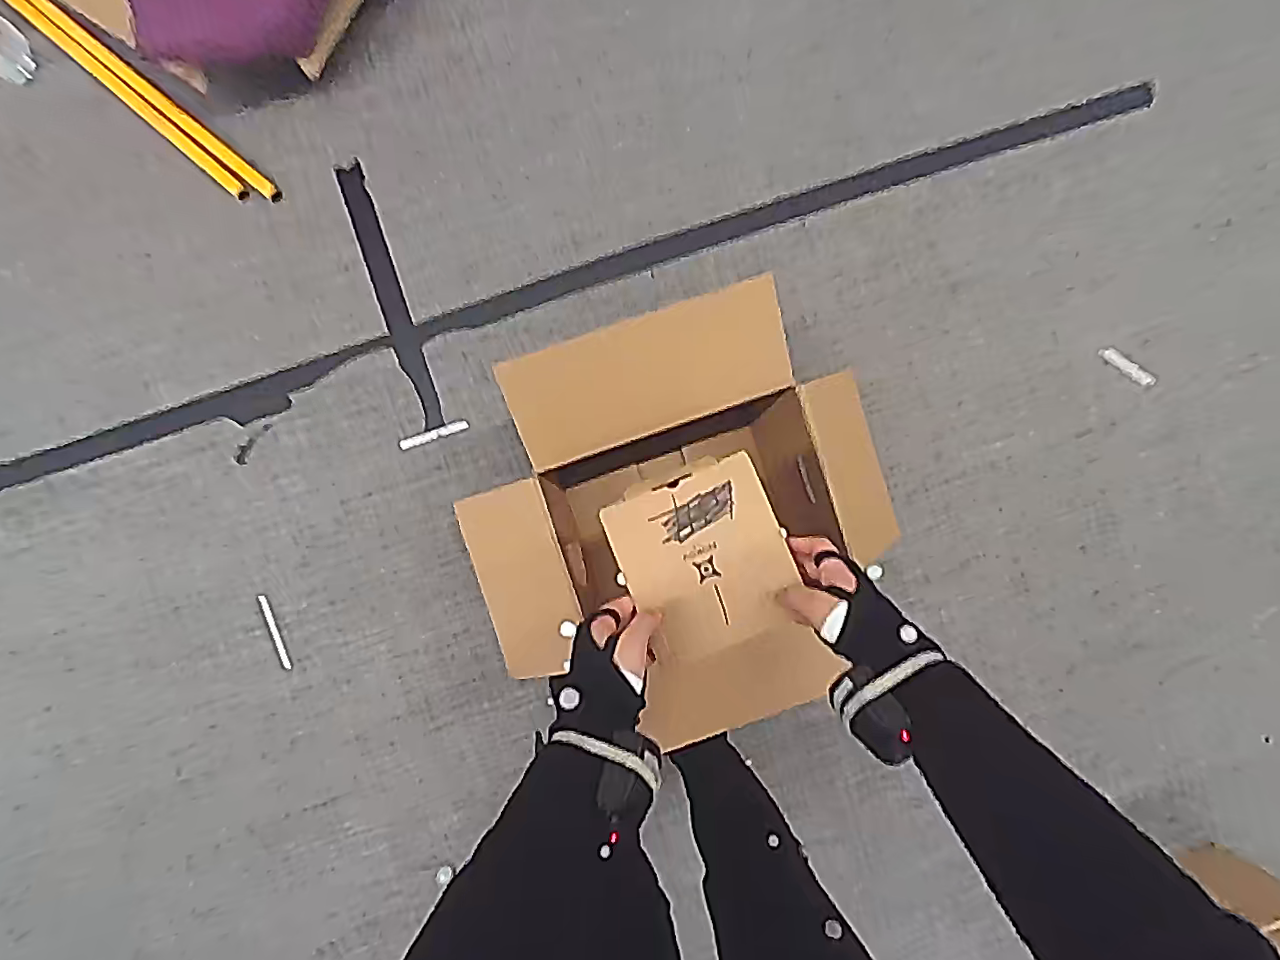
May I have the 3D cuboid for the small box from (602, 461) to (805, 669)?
[{"bbox_3d":[0.069,0.096,0.641,0.168,0.176,0.179,-22,83,3],"label":"small box"}]
